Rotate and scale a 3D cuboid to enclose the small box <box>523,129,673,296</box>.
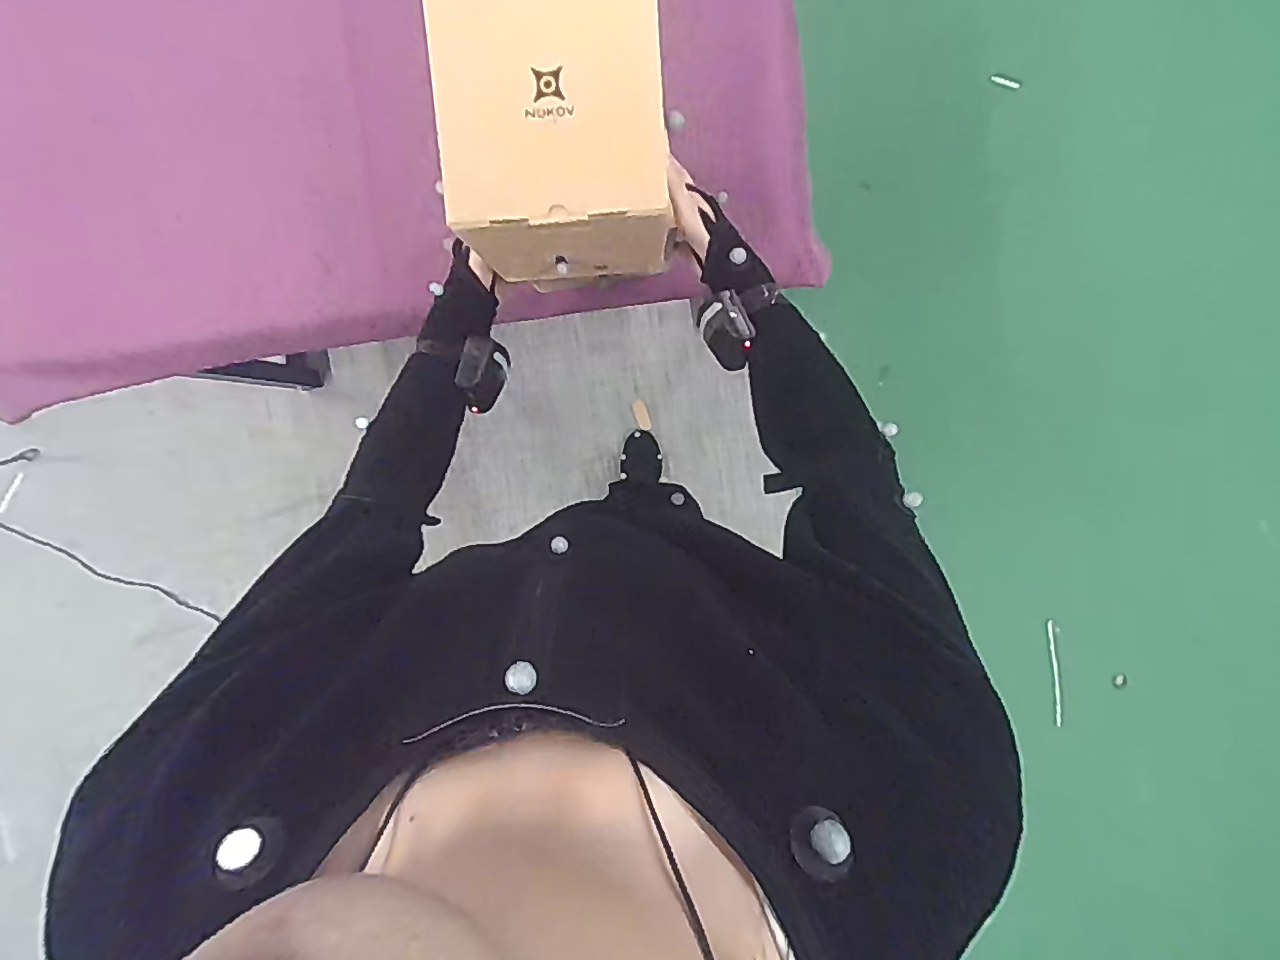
[{"bbox_3d":[-0.065,-0.322,0.619,0.179,0.176,0.168,-10,96,1],"label":"small box"}]

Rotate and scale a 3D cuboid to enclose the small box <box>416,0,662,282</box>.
[{"bbox_3d":[-0.071,-0.282,0.459,0.168,0.176,0.179,-4,98,1],"label":"small box"}]
